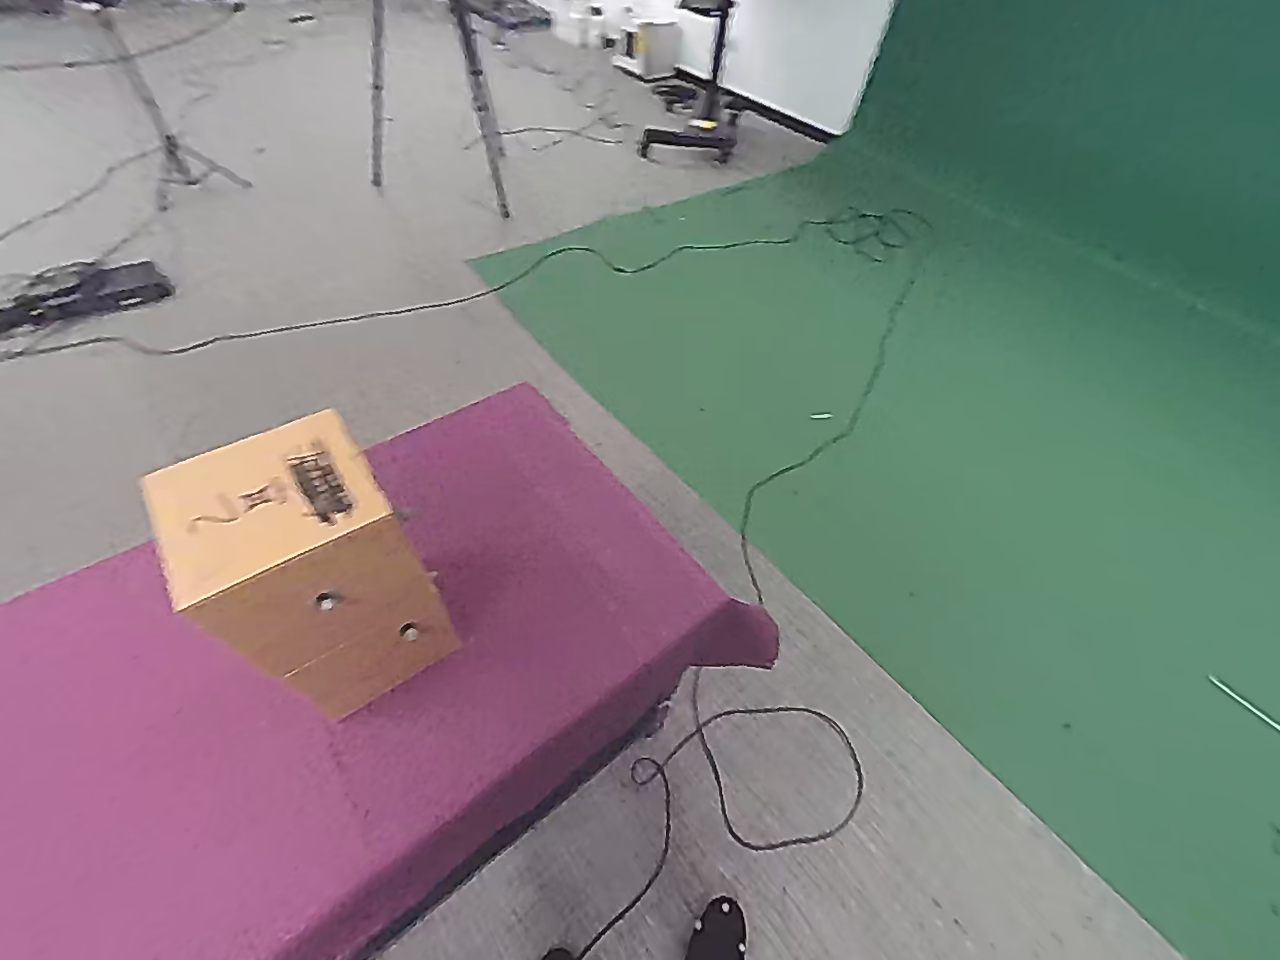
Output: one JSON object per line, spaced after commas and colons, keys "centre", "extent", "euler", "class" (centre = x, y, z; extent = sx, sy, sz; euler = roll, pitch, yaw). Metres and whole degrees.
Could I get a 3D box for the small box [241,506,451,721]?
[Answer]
{"centre": [-0.361, 0.172, 0.696], "extent": [0.179, 0.176, 0.168], "euler": [-29, 59, -25], "class": "small box"}
